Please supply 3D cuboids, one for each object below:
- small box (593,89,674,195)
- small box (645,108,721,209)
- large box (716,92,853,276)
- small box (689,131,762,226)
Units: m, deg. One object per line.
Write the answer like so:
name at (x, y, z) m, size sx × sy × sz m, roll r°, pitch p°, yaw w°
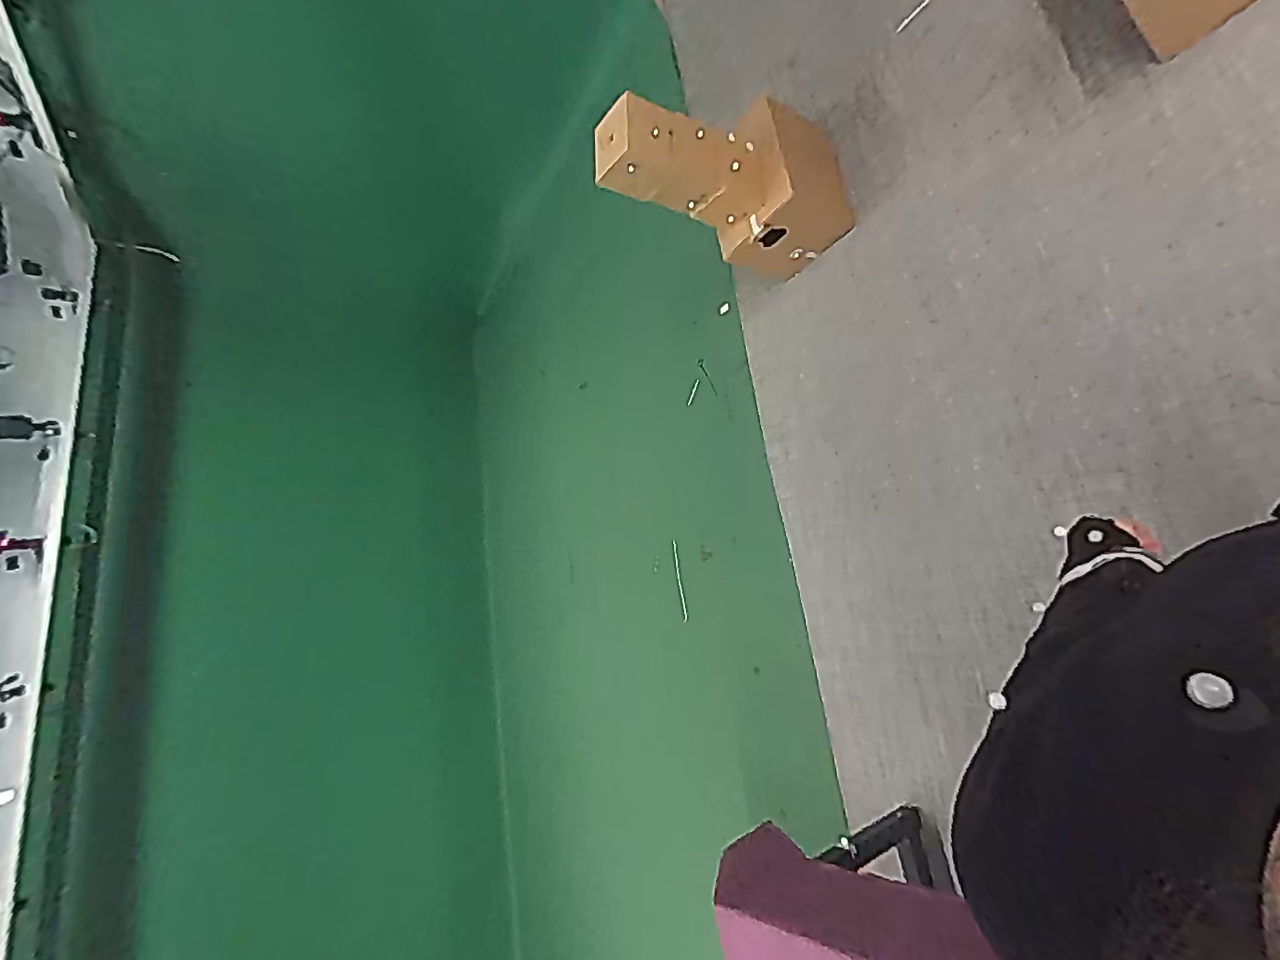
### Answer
small box at (-0.016, -0.940, 1.522) m, size 0.179 × 0.176 × 0.168 m, roll -5°, pitch 85°, yaw 56°
small box at (0.125, -0.944, 1.607) m, size 0.168 × 0.176 × 0.179 m, roll -7°, pitch 85°, yaw 57°
large box at (0.459, -0.981, 1.837) m, size 0.320 × 0.320 × 0.408 m, roll -30°, pitch 64°, yaw 51°
small box at (0.264, -0.934, 1.692) m, size 0.168 × 0.176 × 0.179 m, roll -13°, pitch 79°, yaw 55°
